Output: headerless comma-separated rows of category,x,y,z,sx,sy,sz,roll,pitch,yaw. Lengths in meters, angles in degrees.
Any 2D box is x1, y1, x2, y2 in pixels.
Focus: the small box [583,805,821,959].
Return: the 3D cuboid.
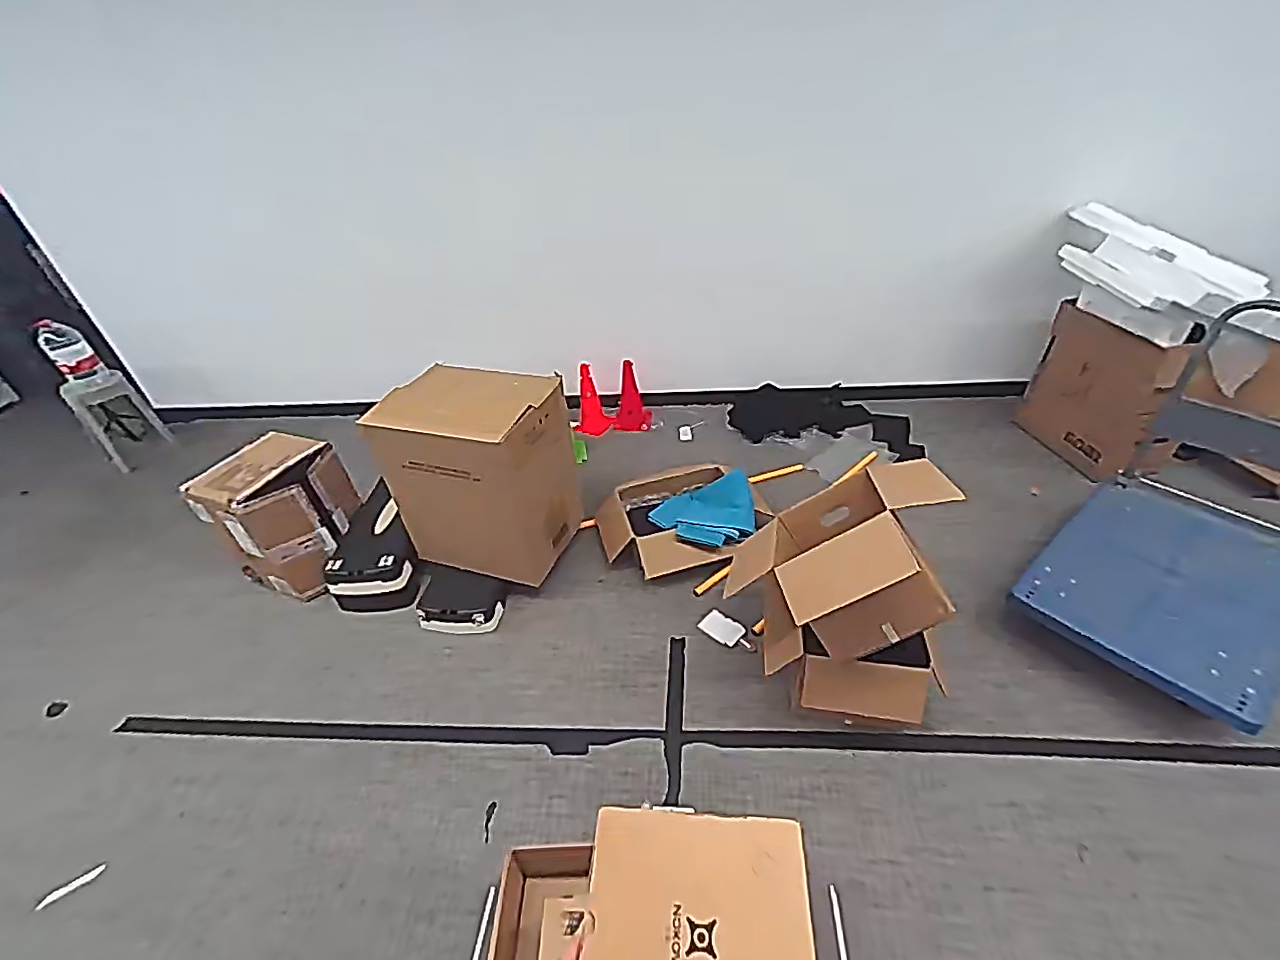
small box,0.054,0.398,0.458,0.179,0.176,0.168,-2,43,9
